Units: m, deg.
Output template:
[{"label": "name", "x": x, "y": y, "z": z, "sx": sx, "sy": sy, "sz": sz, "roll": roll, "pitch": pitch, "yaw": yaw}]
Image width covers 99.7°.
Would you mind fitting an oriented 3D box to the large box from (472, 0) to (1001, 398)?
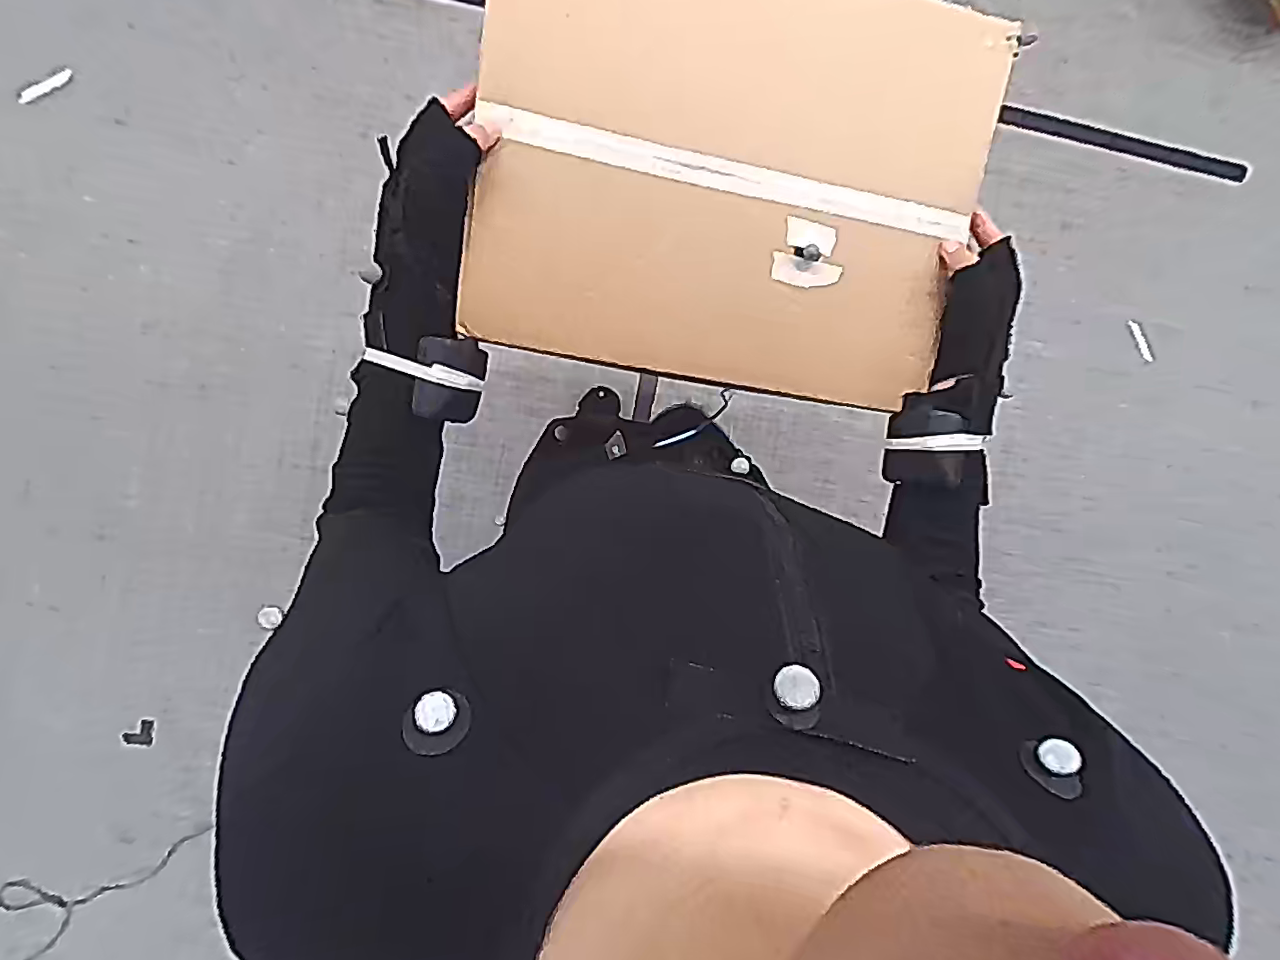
[{"label": "large box", "x": 0.058, "y": -0.278, "z": 0.582, "sx": 0.408, "sy": 0.320, "sz": 0.320, "roll": 8, "pitch": 102, "yaw": -10}]
